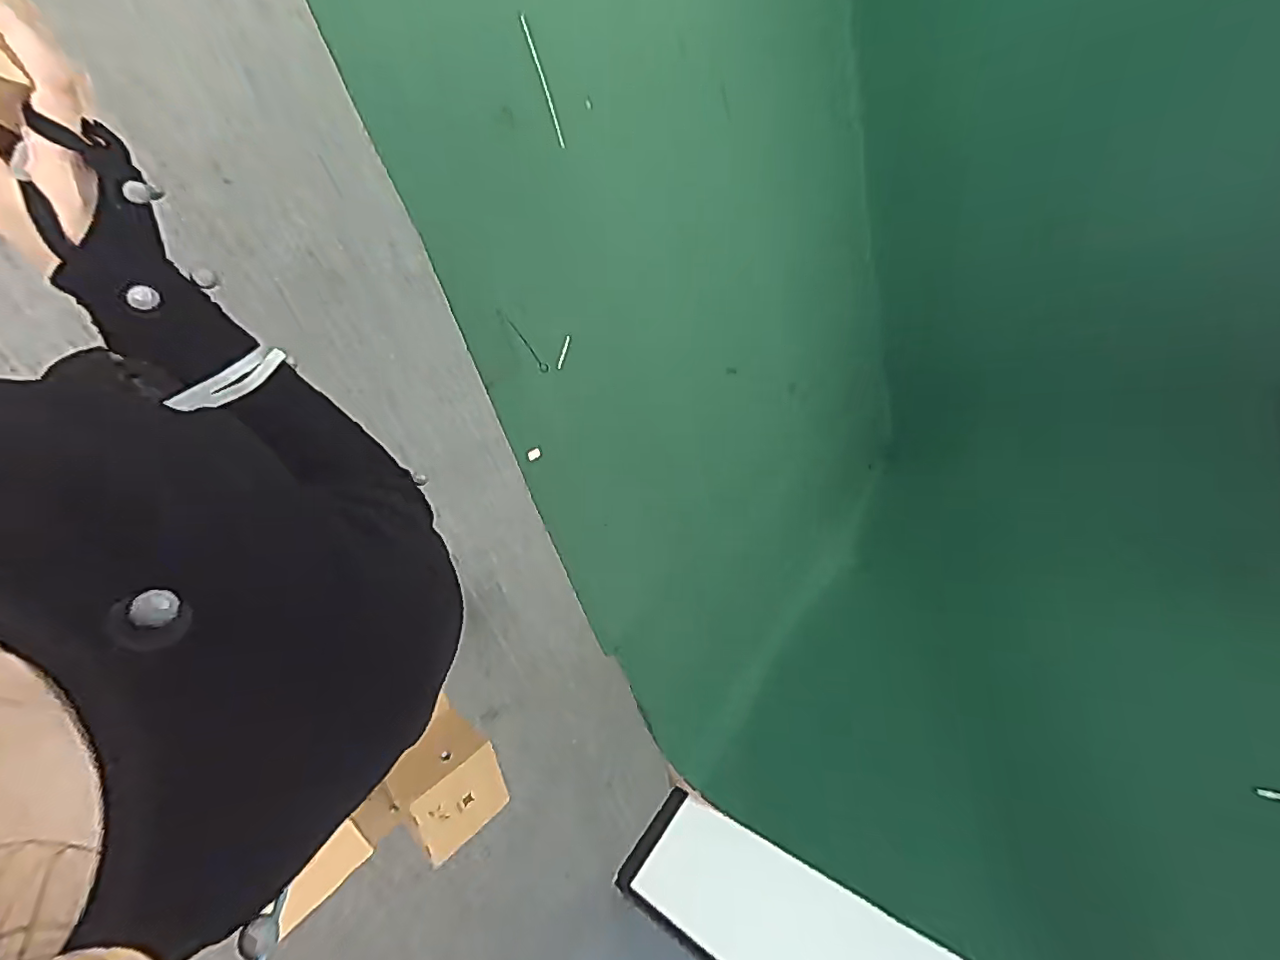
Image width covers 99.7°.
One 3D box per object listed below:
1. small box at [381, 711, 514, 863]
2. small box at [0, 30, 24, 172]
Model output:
[{"bbox_3d":[-0.393,0.612,1.106,0.179,0.176,0.168,-27,115,-40],"label":"small box"},{"bbox_3d":[-0.446,-0.250,0.256,0.168,0.179,0.176,-15,87,-56],"label":"small box"}]
